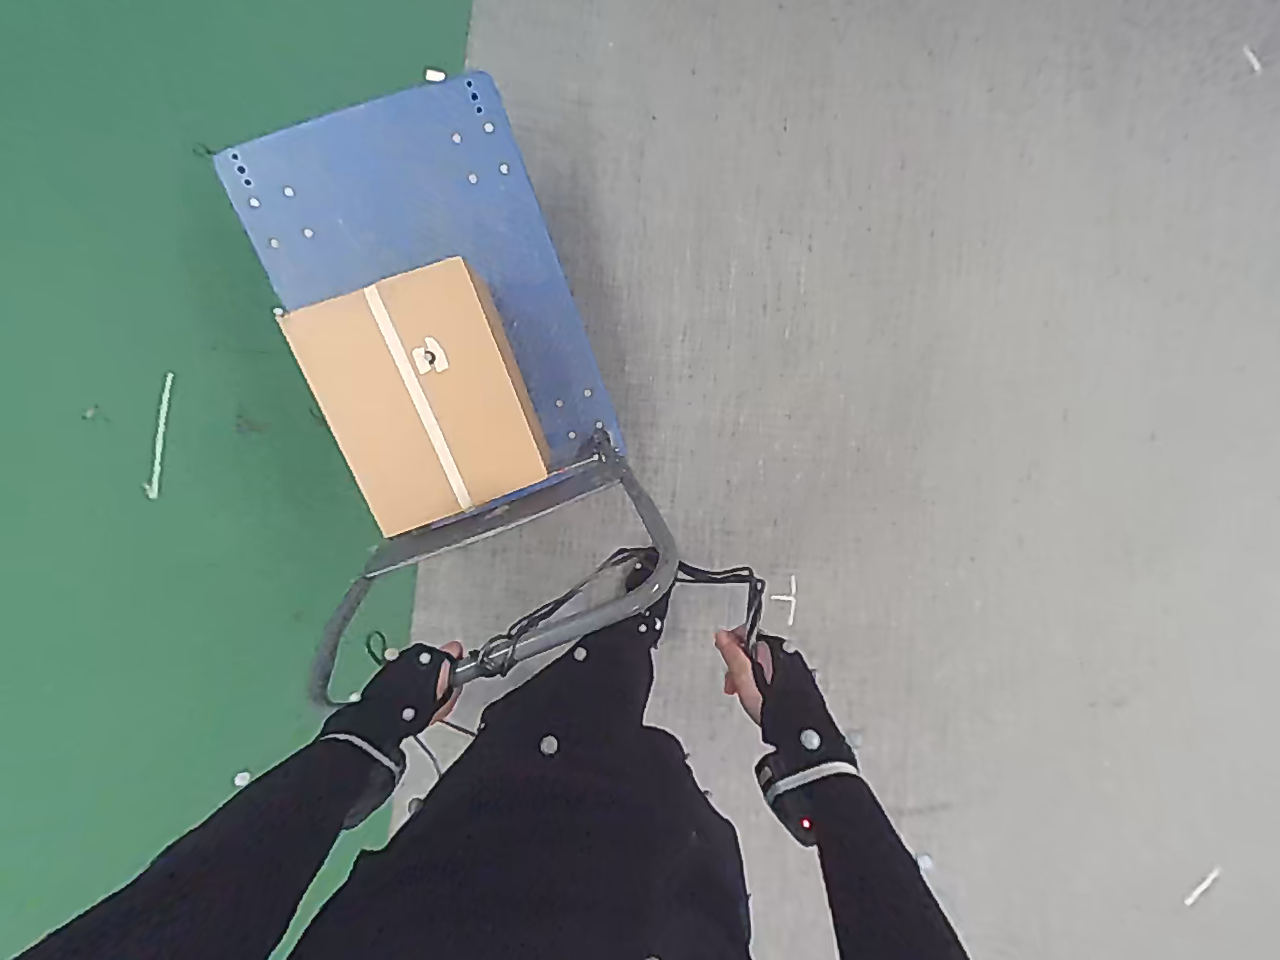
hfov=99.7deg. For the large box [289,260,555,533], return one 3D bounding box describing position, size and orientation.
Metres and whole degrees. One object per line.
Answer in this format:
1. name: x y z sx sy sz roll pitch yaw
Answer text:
1. large box: -0.386 -0.163 1.079 0.320 0.320 0.408 -20 103 -5
